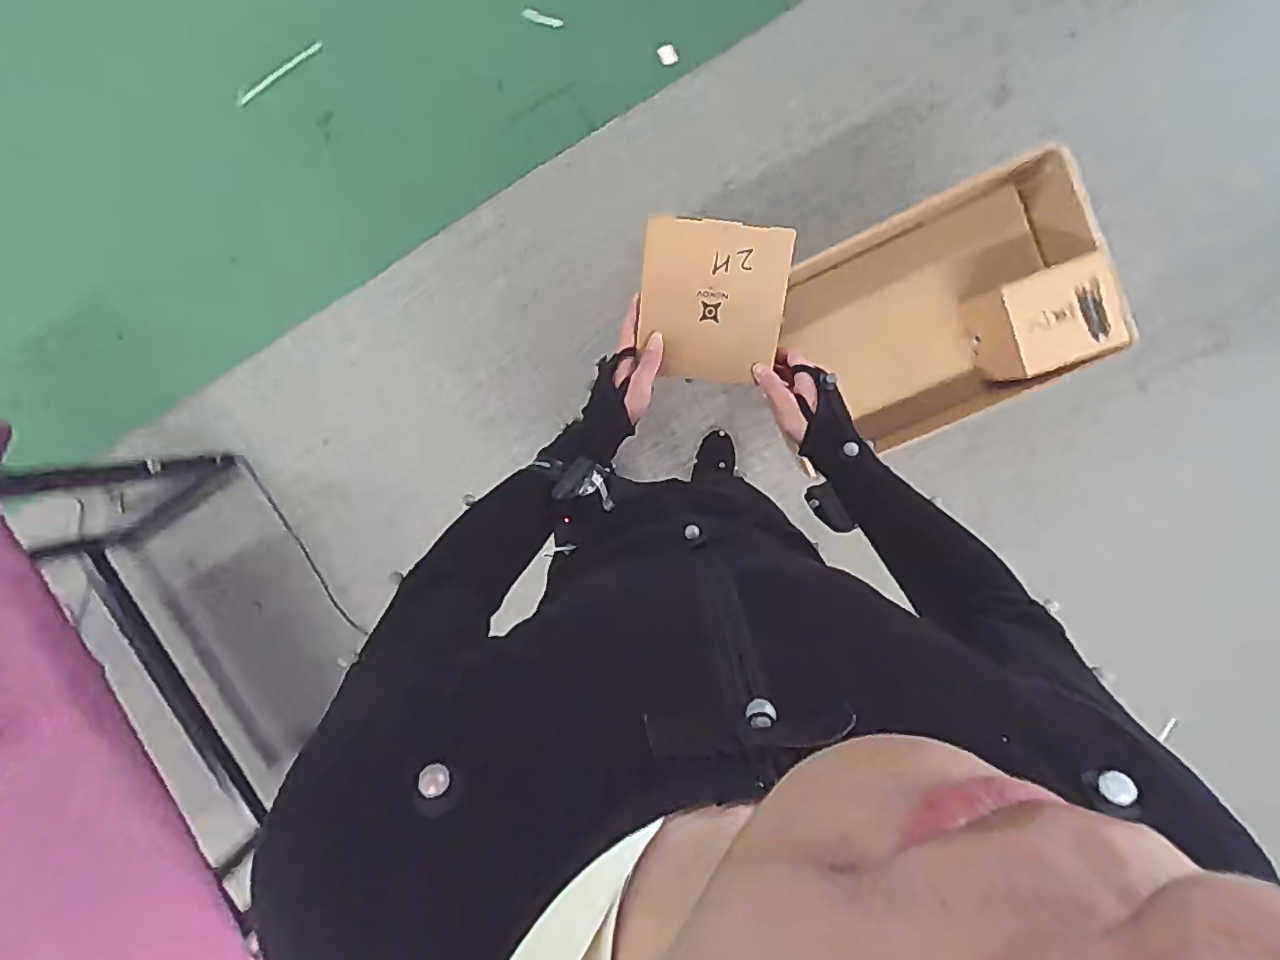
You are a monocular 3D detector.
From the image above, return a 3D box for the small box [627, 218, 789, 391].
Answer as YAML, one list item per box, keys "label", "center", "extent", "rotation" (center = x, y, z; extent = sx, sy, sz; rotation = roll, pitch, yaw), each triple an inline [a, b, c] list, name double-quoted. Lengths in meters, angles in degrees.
- label: "small box"
  center: [0.073, -0.219, 0.685]
  extent: [0.168, 0.176, 0.179]
  rotation: [4, 108, -3]
